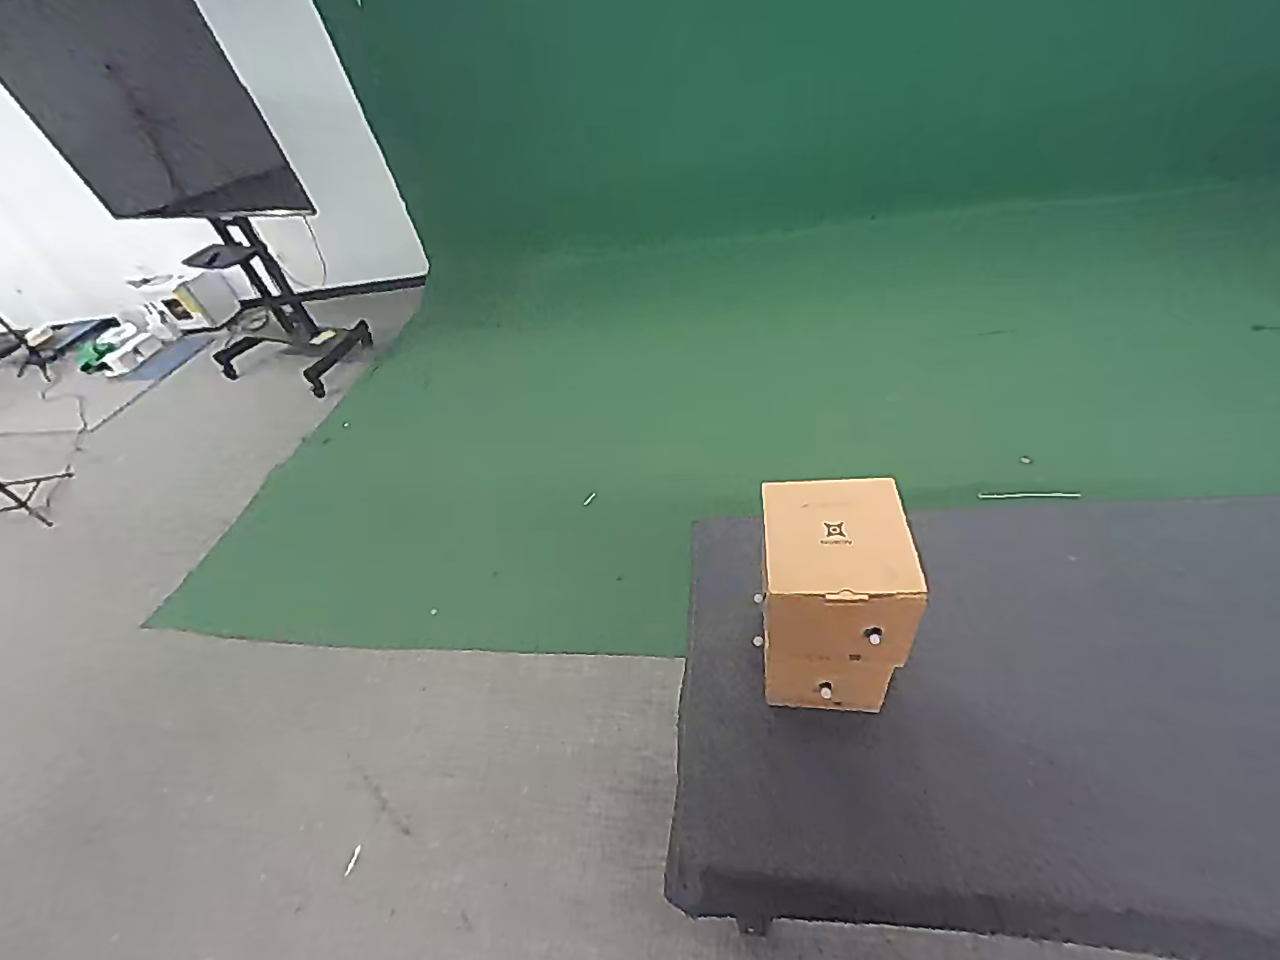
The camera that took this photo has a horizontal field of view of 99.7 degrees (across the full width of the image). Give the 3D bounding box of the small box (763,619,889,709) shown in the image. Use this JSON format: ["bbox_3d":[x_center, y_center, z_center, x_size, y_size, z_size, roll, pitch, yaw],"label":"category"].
[{"bbox_3d":[0.273,0.227,0.818,0.168,0.176,0.179,-1,45,12],"label":"small box"}]

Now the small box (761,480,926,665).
[{"bbox_3d":[0.245,0.122,0.696,0.168,0.176,0.179,-2,44,10],"label":"small box"}]
